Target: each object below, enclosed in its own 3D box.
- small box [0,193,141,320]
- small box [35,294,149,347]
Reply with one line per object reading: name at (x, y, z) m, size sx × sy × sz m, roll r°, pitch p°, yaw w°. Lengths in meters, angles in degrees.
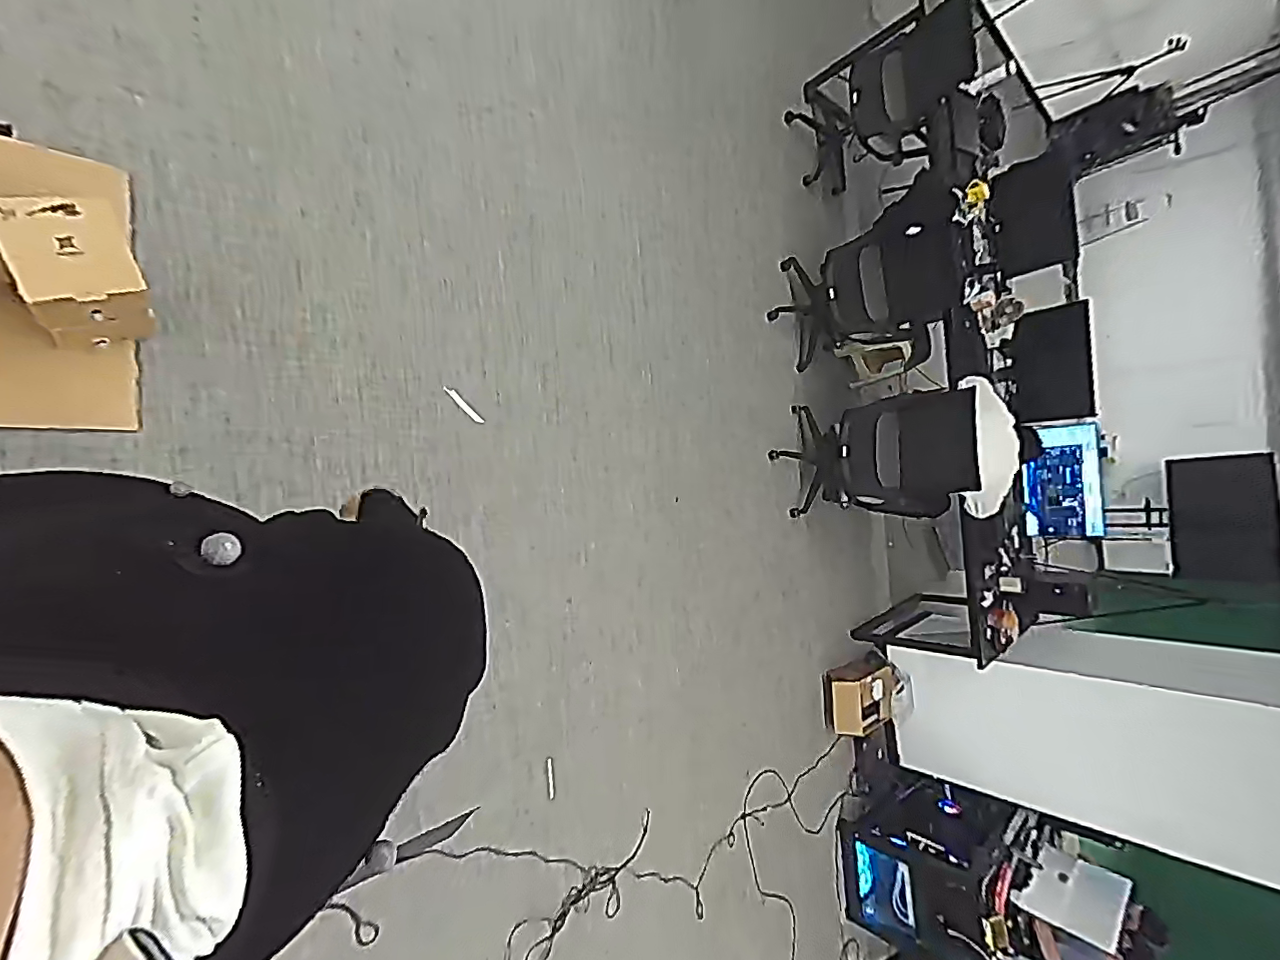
small box at (-1.061, -0.406, 0.999) m, size 0.168 × 0.176 × 0.179 m, roll -27°, pitch 105°, yaw -40°
small box at (-1.166, -0.396, 1.124) m, size 0.168 × 0.176 × 0.179 m, roll -29°, pitch 105°, yaw -39°
